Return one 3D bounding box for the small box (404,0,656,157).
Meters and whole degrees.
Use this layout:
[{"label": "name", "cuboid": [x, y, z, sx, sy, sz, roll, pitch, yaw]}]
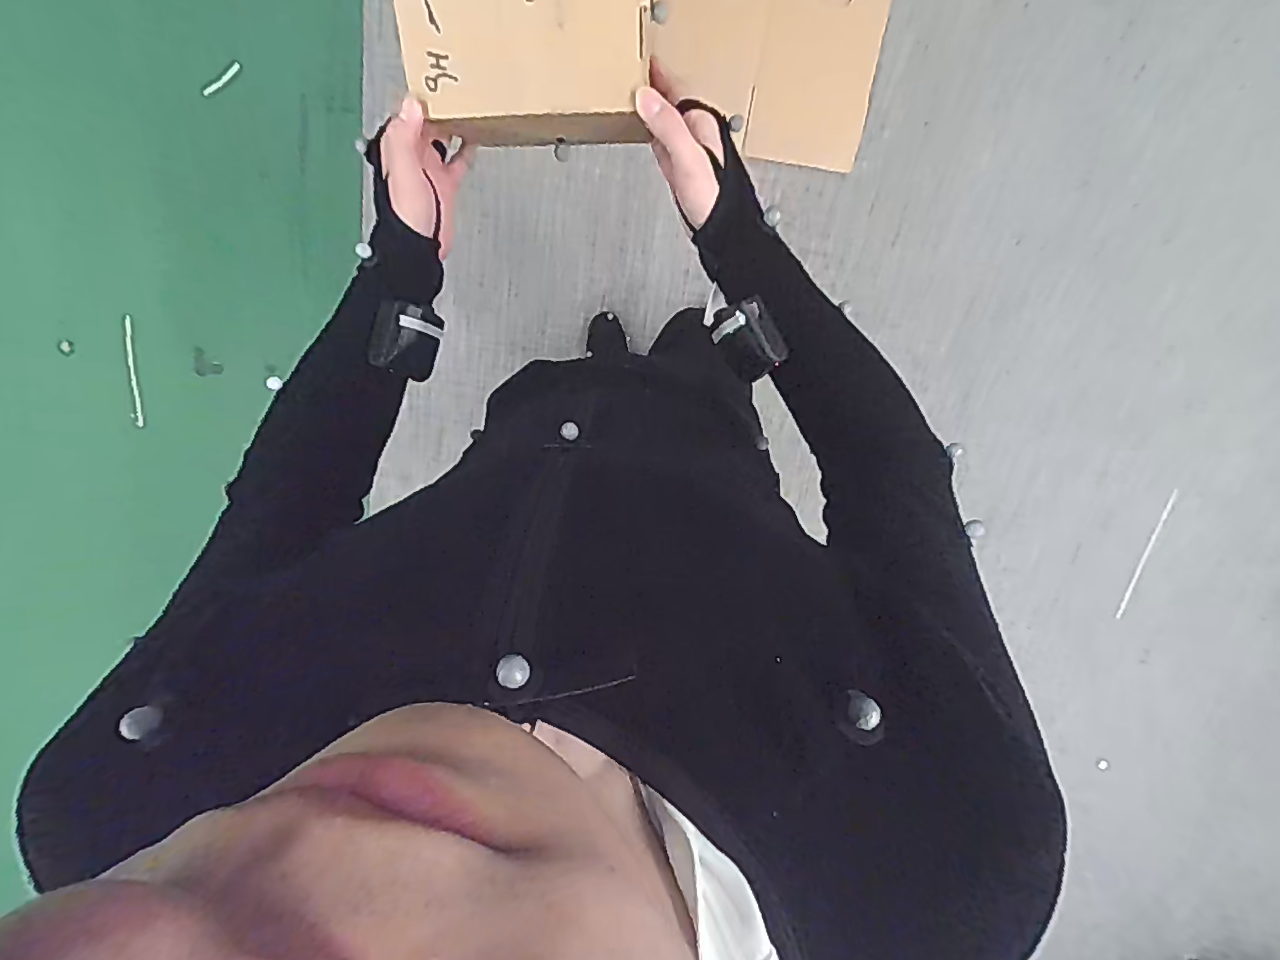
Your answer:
[{"label": "small box", "cuboid": [-0.075, -0.371, 0.441, 0.179, 0.176, 0.168, 1, 114, 3]}]
